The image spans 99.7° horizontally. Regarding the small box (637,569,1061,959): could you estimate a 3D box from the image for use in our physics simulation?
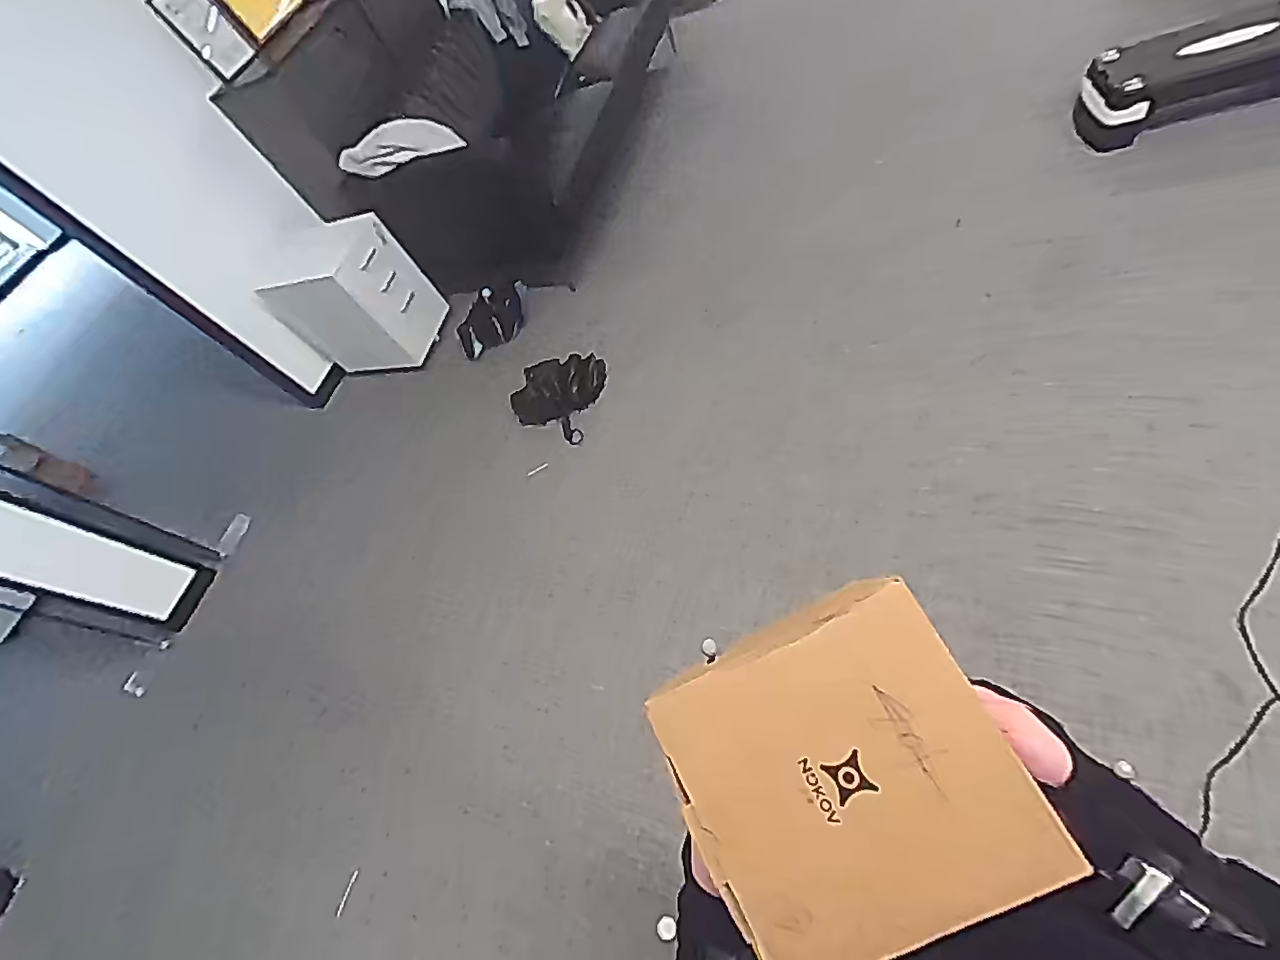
[{"bbox_3d":[0.124,0.177,0.380,0.179,0.176,0.168,-29,75,6],"label":"small box"}]
